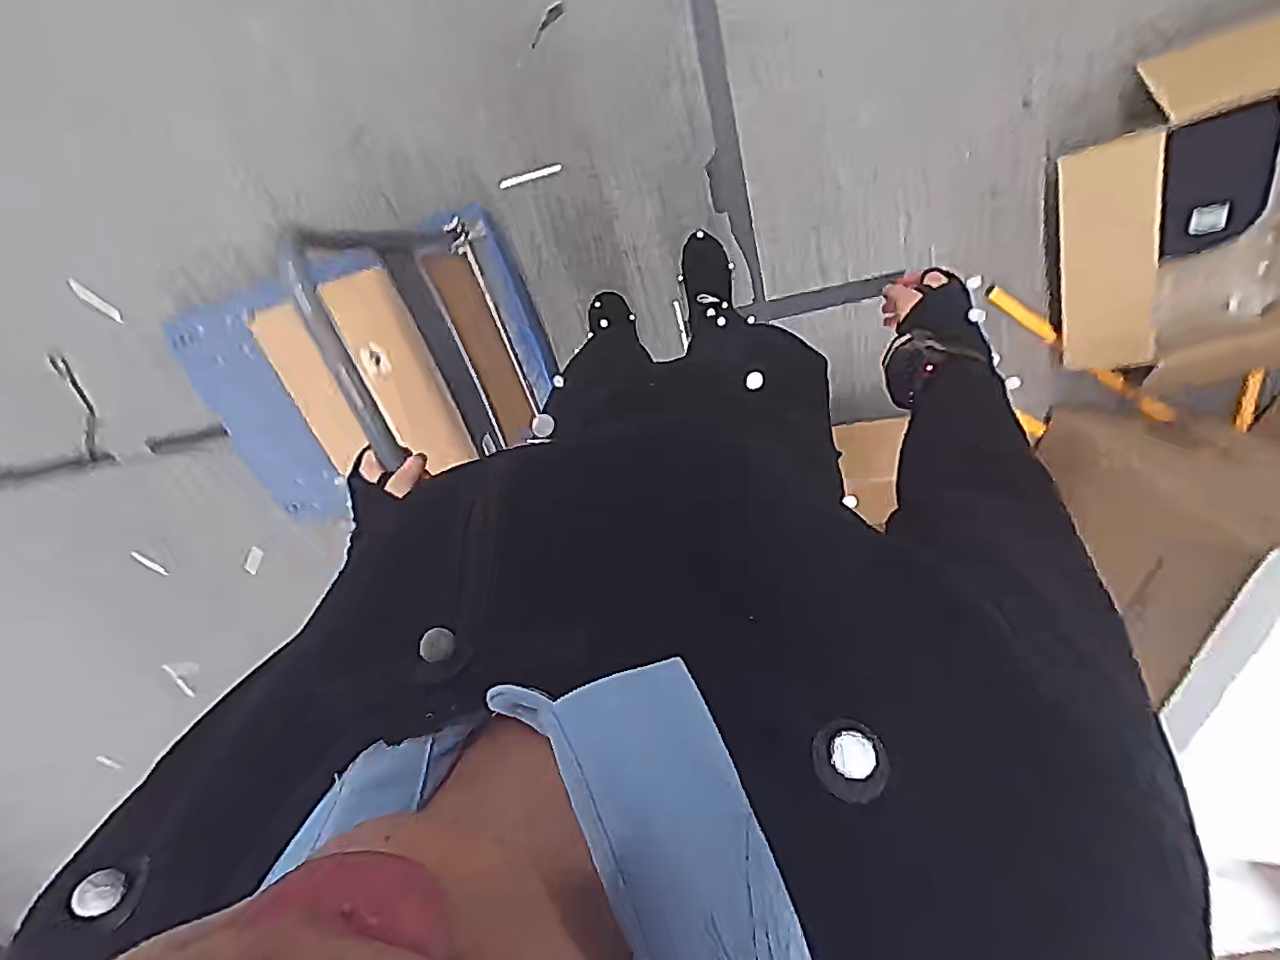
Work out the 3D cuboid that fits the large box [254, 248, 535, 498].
[{"bbox_3d":[-0.470,-0.231,1.141,0.320,0.320,0.408,-14,113,11],"label":"large box"}]
